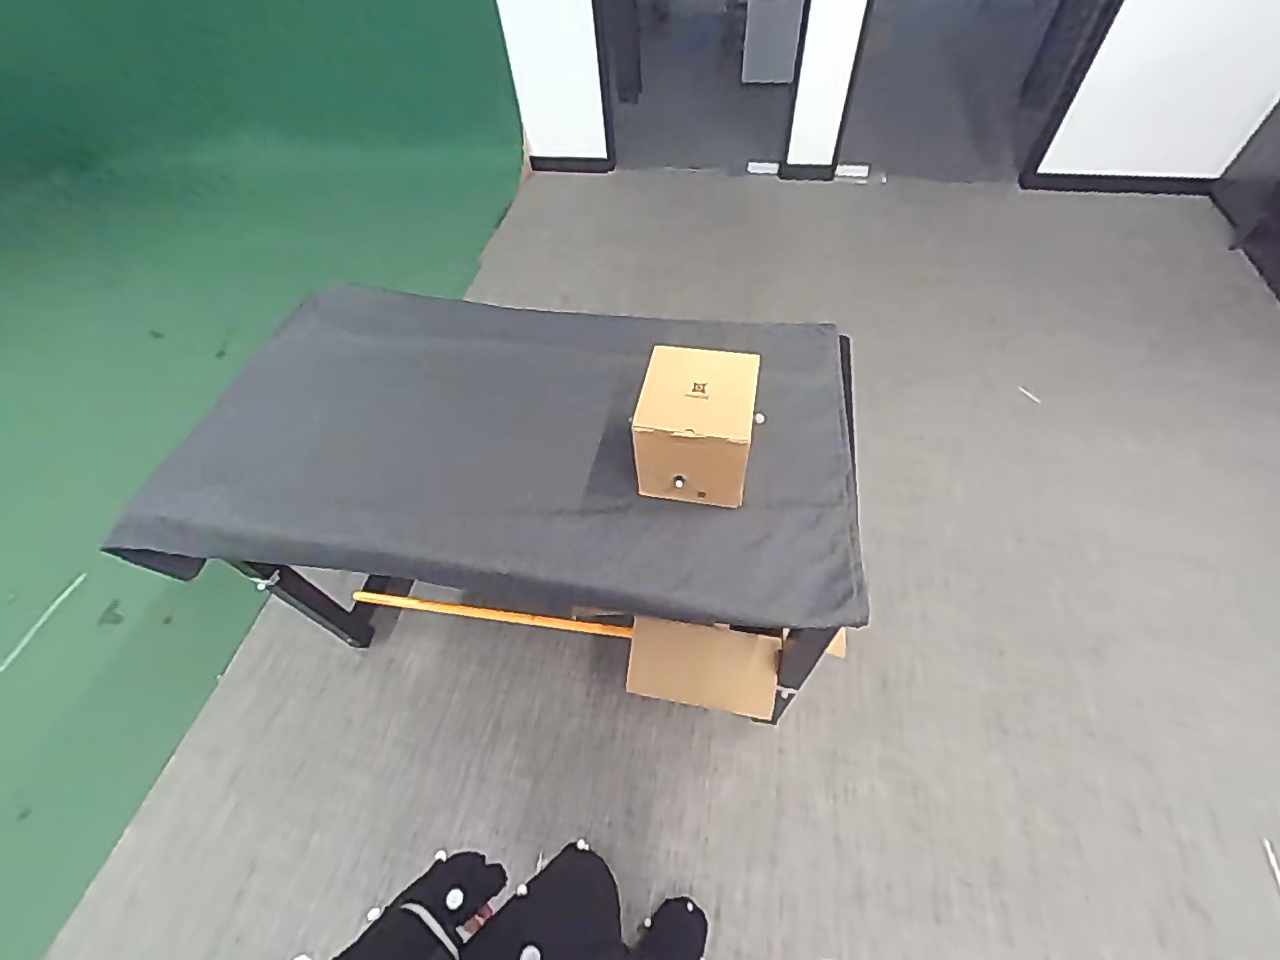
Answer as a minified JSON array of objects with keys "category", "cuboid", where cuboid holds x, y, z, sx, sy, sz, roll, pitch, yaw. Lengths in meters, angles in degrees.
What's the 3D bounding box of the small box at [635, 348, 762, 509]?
[{"category":"small box","cuboid":[0.092,-0.080,0.852,0.168,0.176,0.179,8,55,9]}]
